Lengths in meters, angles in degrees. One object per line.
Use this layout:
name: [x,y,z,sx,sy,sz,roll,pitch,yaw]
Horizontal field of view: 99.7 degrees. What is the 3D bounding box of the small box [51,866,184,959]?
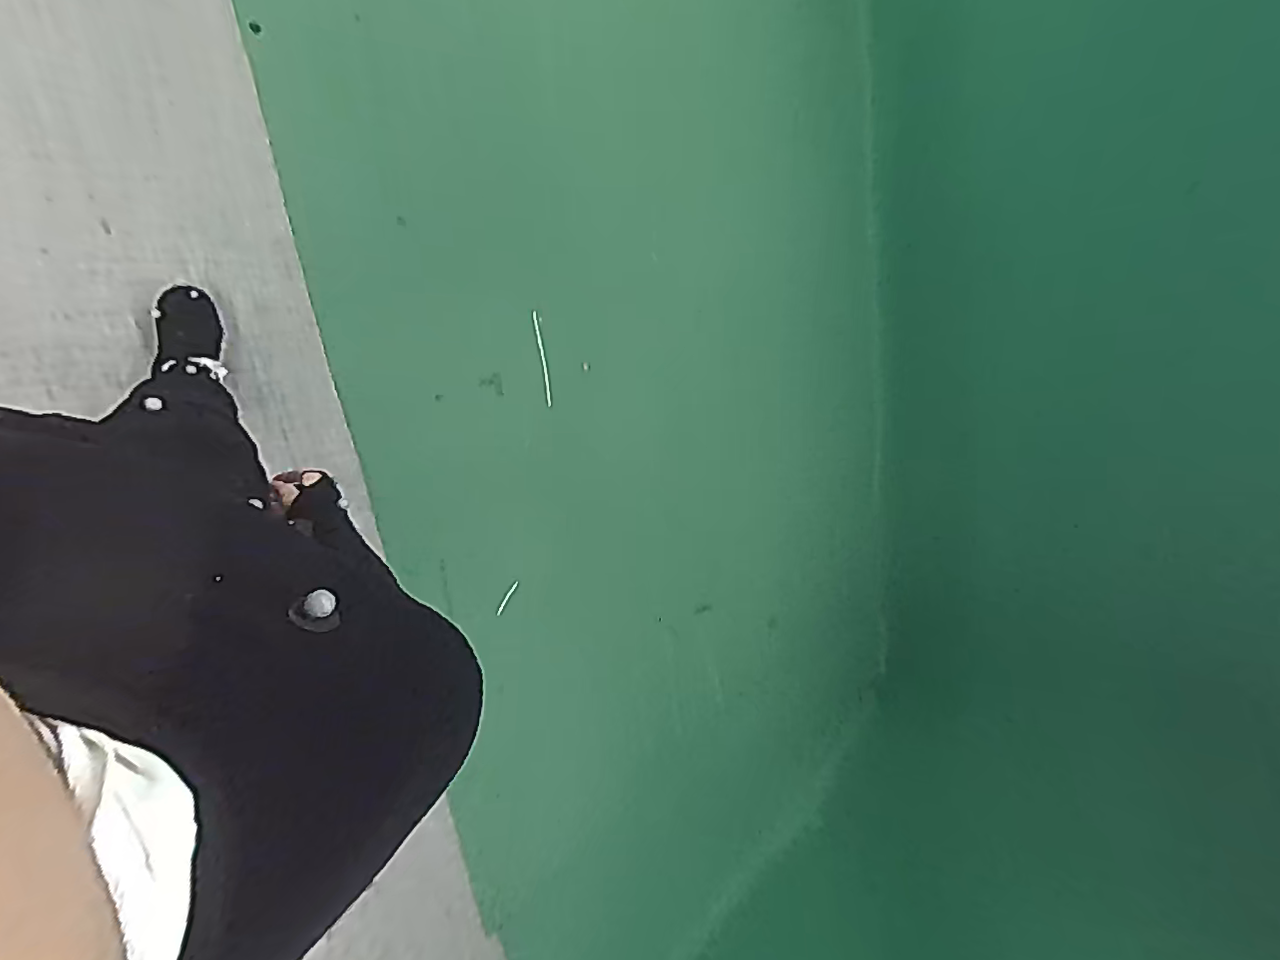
small box: [-1.132,1.000,1.174,0.179,0.176,0.168,-20,107,-39]
